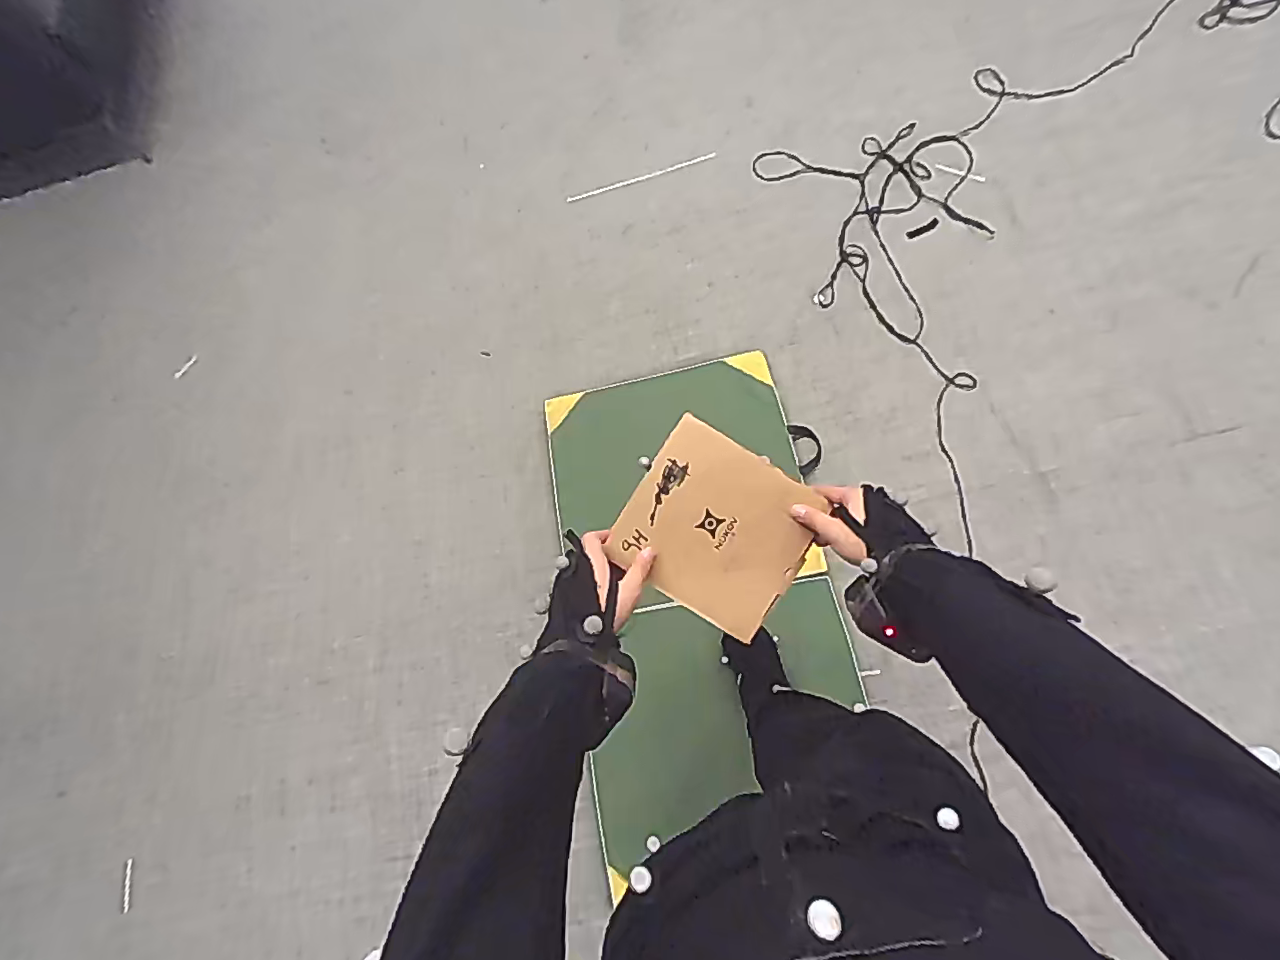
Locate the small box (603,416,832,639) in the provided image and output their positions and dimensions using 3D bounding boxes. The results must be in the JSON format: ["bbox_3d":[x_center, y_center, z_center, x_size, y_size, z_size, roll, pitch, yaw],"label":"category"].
[{"bbox_3d":[0.079,0.046,0.618,0.179,0.176,0.168,32,90,0],"label":"small box"}]
